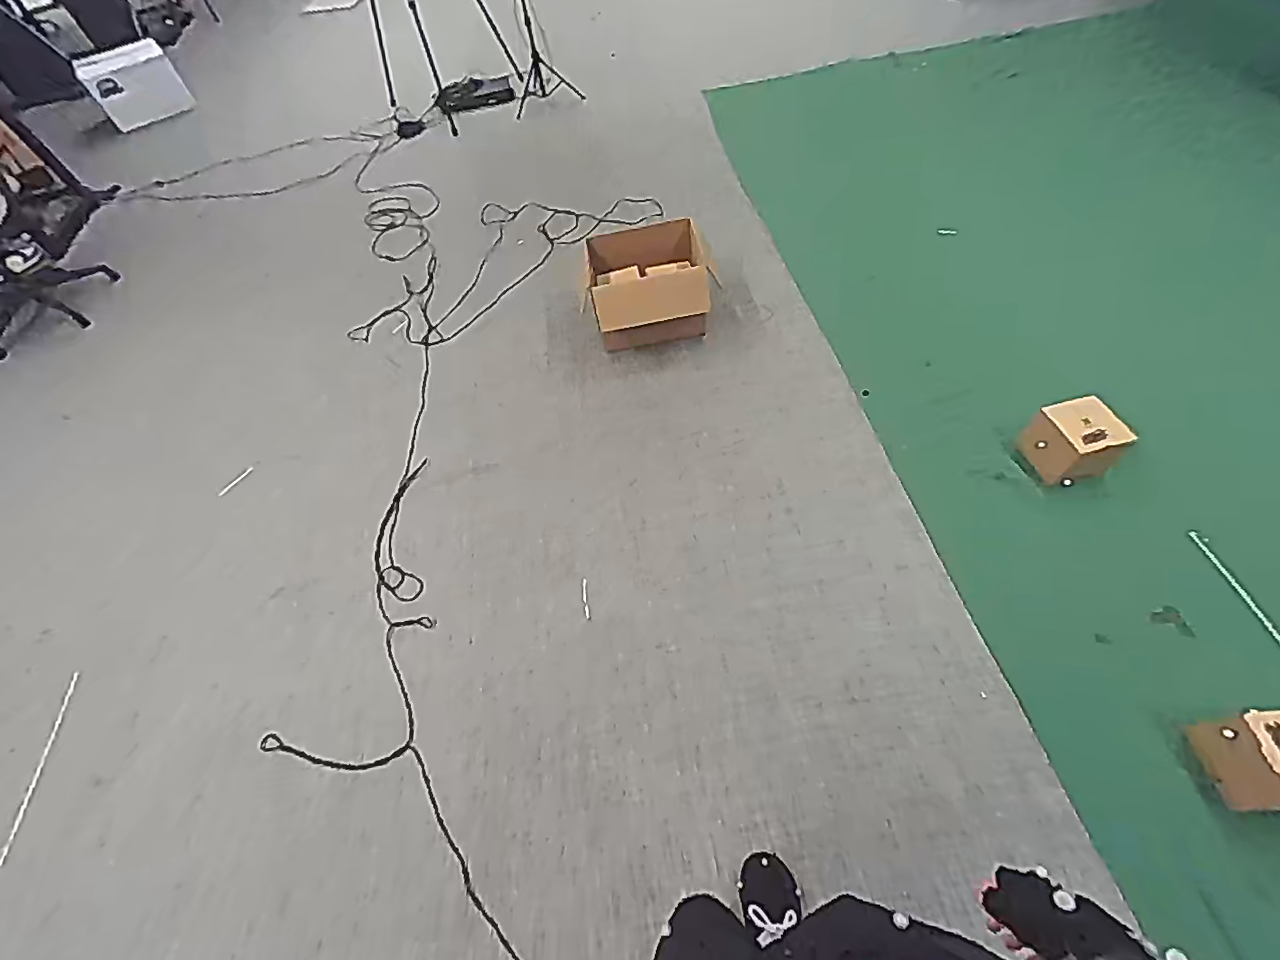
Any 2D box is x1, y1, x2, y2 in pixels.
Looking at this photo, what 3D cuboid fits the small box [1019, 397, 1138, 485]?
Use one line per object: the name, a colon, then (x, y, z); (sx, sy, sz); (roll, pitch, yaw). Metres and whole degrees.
small box: (1.245, -0.104, 1.552); (0.168, 0.176, 0.179); (-13, 54, -1)
